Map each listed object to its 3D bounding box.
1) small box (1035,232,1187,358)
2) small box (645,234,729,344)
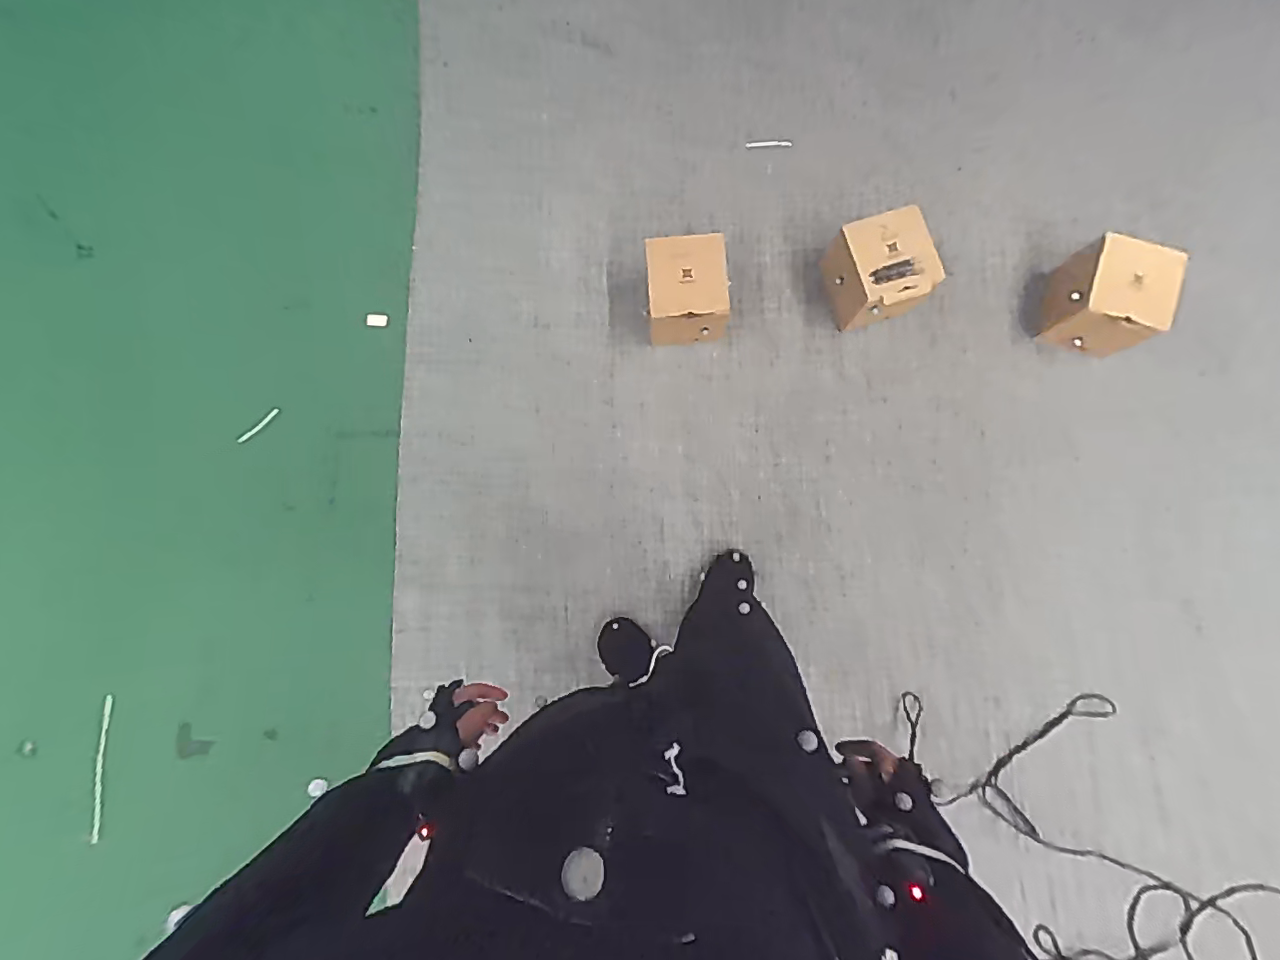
[{"bbox_3d":[0.996,-0.387,1.159,0.168,0.176,0.179,18,85,4],"label":"small box"},{"bbox_3d":[0.100,-0.410,1.193,0.168,0.176,0.179,-4,83,0],"label":"small box"}]
